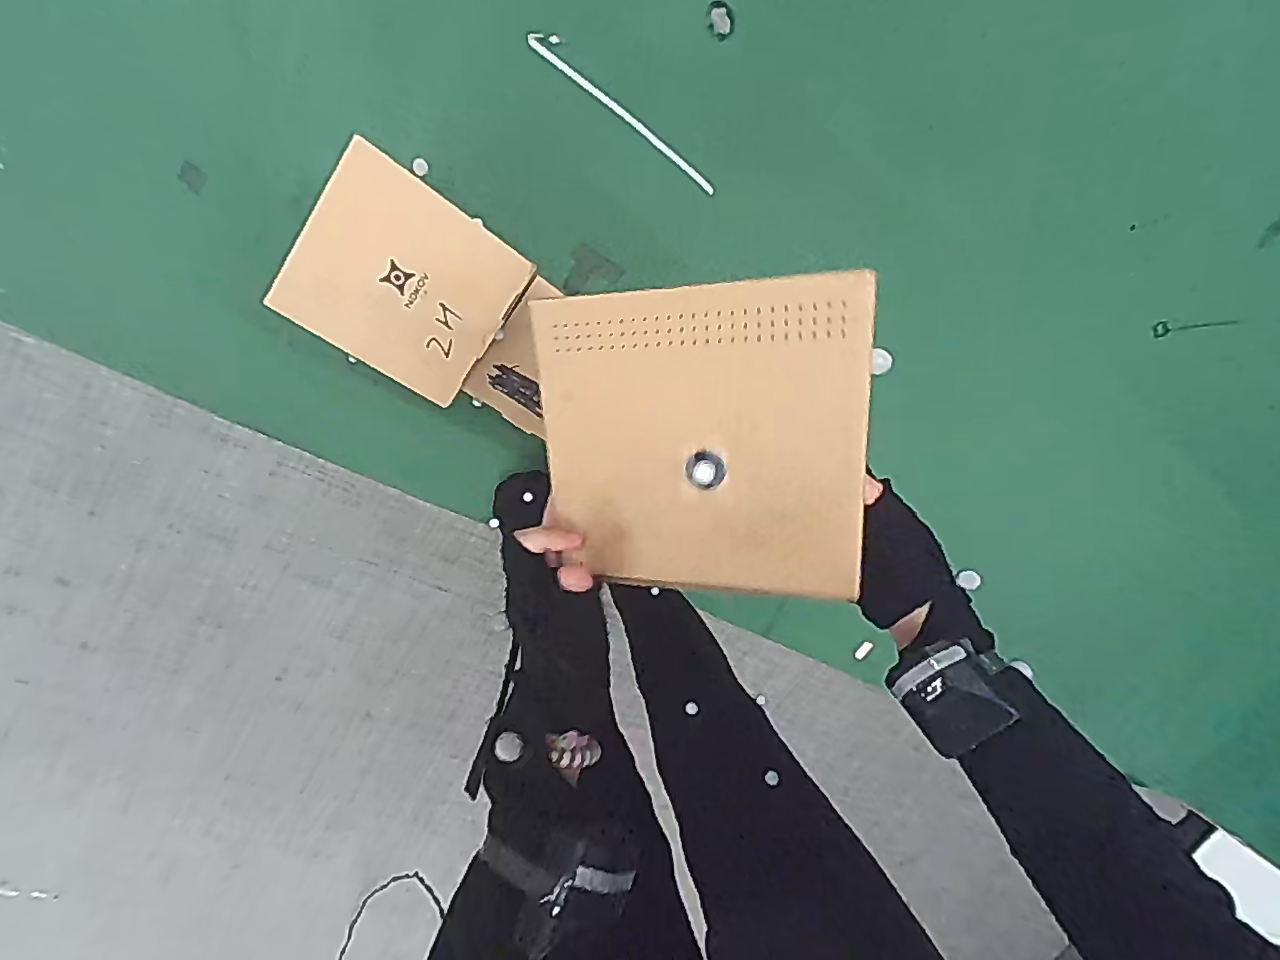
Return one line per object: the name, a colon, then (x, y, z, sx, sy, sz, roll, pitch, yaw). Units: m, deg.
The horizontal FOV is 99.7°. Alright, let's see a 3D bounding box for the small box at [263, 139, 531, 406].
small box: (-0.235, -0.204, 0.562, 0.179, 0.176, 0.168, 32, 100, -24)
